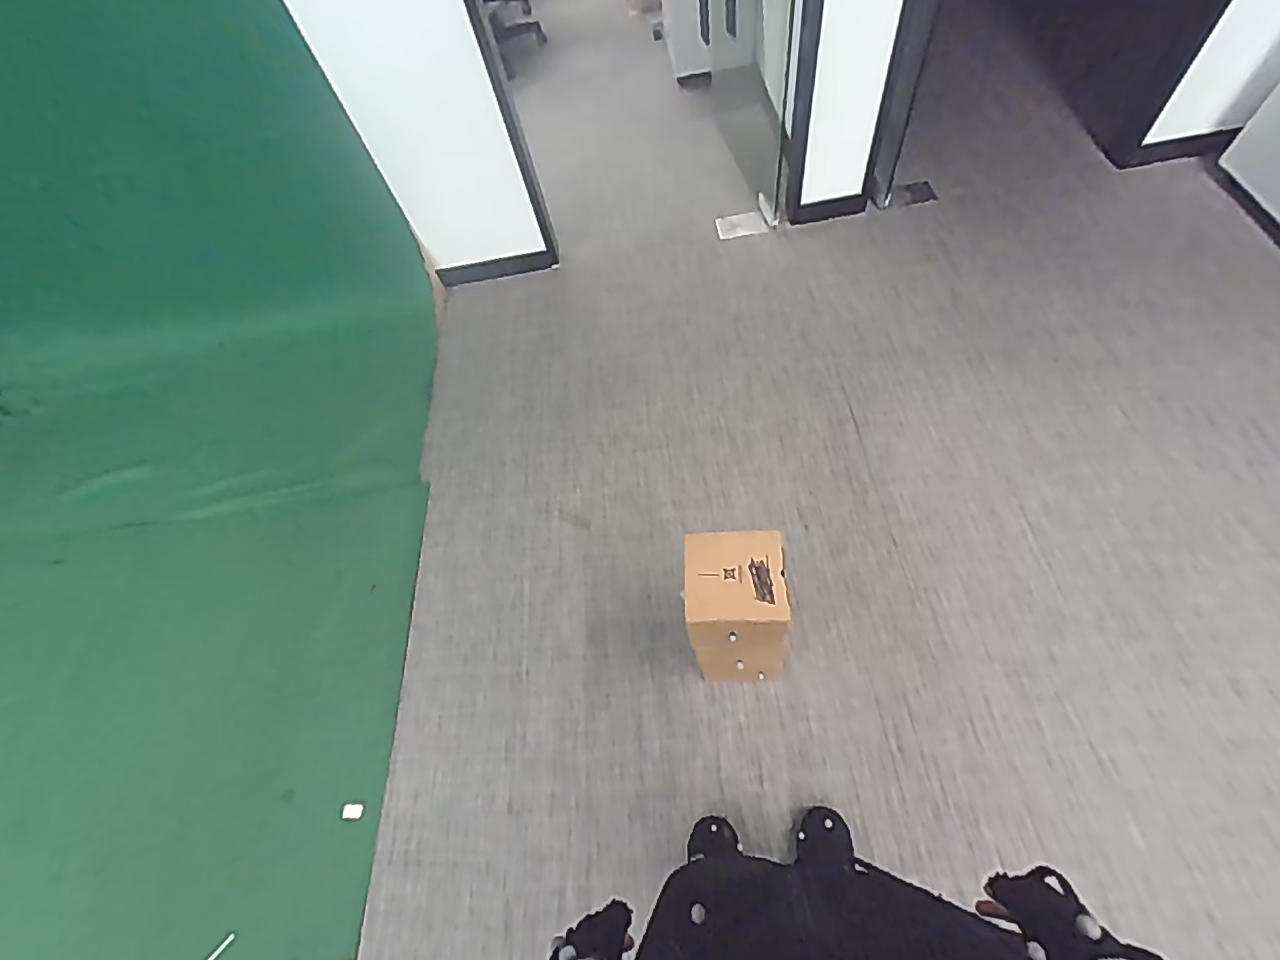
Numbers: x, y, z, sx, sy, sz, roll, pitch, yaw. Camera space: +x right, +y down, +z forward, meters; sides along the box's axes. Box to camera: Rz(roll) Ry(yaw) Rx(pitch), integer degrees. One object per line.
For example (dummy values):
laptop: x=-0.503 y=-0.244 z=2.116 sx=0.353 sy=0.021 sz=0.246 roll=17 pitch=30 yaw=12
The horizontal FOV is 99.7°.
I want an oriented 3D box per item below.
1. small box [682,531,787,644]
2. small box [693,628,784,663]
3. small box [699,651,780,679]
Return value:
small box: x=0.175 y=0.203 z=1.010 sx=0.179 sy=0.176 sz=0.168 roll=-2 pitch=59 yaw=10
small box: x=0.201 y=0.287 z=1.149 sx=0.179 sy=0.176 sz=0.168 roll=-3 pitch=59 yaw=7
small box: x=0.228 y=0.372 z=1.287 sx=0.179 sy=0.176 sz=0.168 roll=-6 pitch=58 yaw=7
